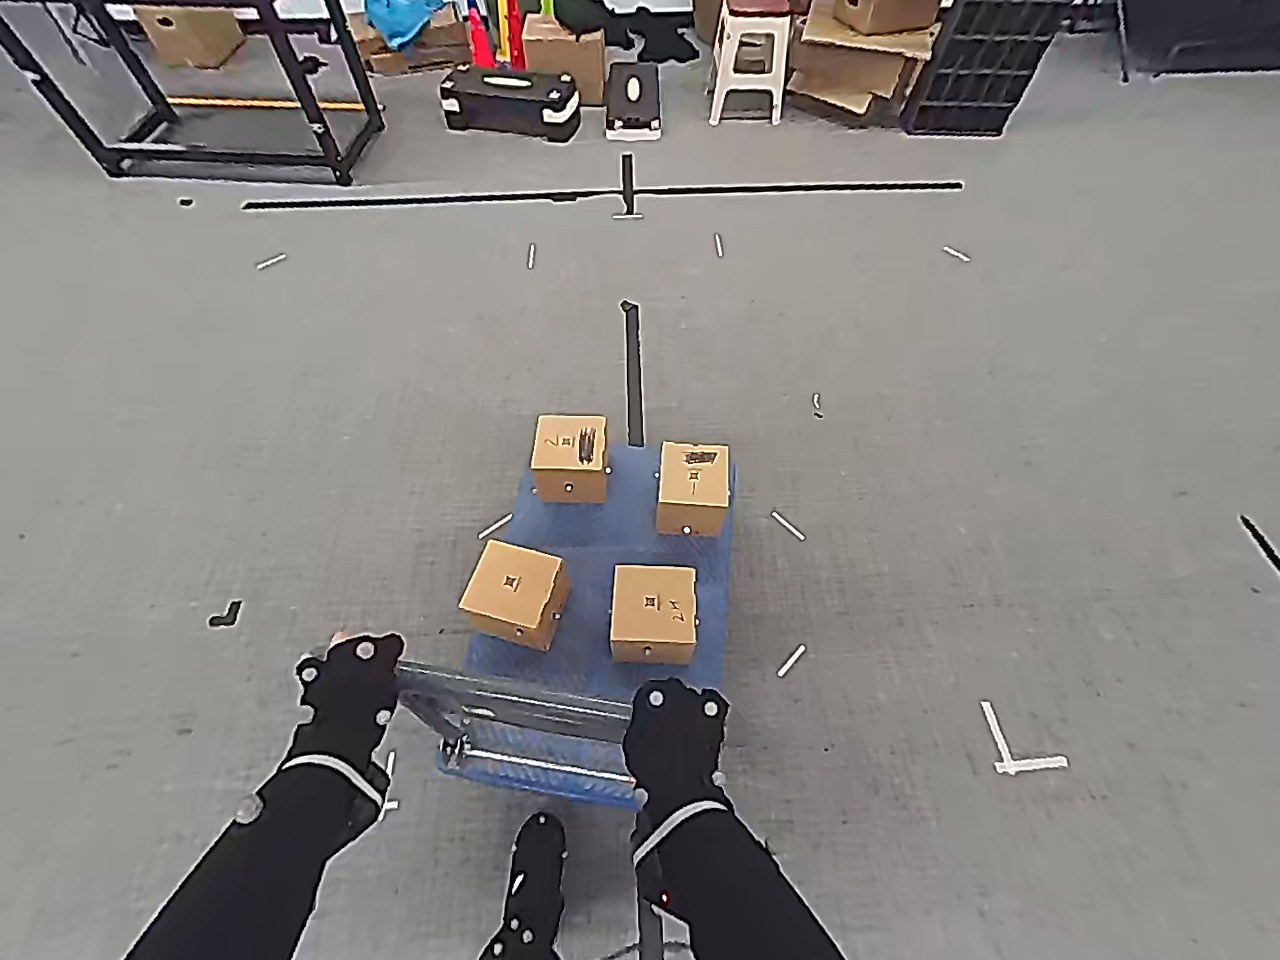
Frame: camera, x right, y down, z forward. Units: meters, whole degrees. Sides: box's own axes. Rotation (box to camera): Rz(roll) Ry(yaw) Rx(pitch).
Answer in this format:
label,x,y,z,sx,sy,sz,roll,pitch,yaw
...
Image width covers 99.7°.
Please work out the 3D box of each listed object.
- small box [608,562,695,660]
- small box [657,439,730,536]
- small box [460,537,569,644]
label,x,y,z,sx,sy,sz,roll,pitch,yaw
small box,0.028,0.292,1.190,0.179,0.176,0.168,3,58,2
small box,0.131,0.020,1.361,0.168,0.176,0.179,4,59,3
small box,-0.272,0.253,1.215,0.179,0.176,0.168,14,59,7
